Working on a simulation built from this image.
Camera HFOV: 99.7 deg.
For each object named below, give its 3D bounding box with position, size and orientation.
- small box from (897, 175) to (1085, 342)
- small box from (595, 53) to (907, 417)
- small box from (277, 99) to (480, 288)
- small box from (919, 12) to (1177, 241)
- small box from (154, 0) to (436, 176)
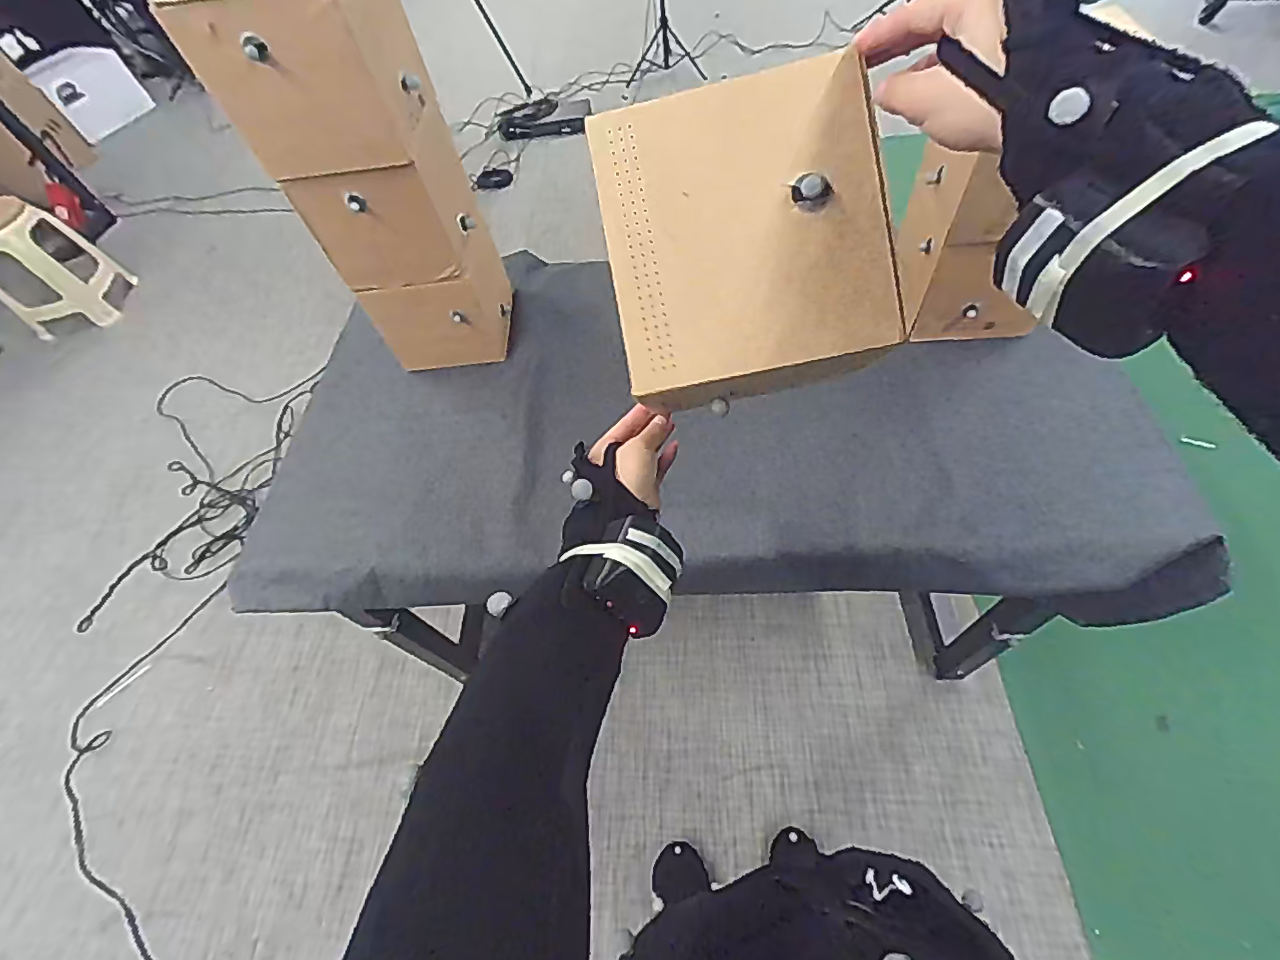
[{"bbox_3d":[0.477,-0.322,0.779,0.168,0.176,0.179,-1,59,8],"label":"small box"},{"bbox_3d":[0.070,-0.152,0.401,0.176,0.168,0.179,-9,91,9],"label":"small box"},{"bbox_3d":[-0.342,-0.385,0.744,0.179,0.176,0.168,-5,59,3],"label":"small box"},{"bbox_3d":[0.453,-0.404,0.639,0.168,0.176,0.179,0,59,8],"label":"small box"},{"bbox_3d":[-0.357,-0.464,0.601,0.179,0.176,0.168,-3,59,4],"label":"small box"}]
